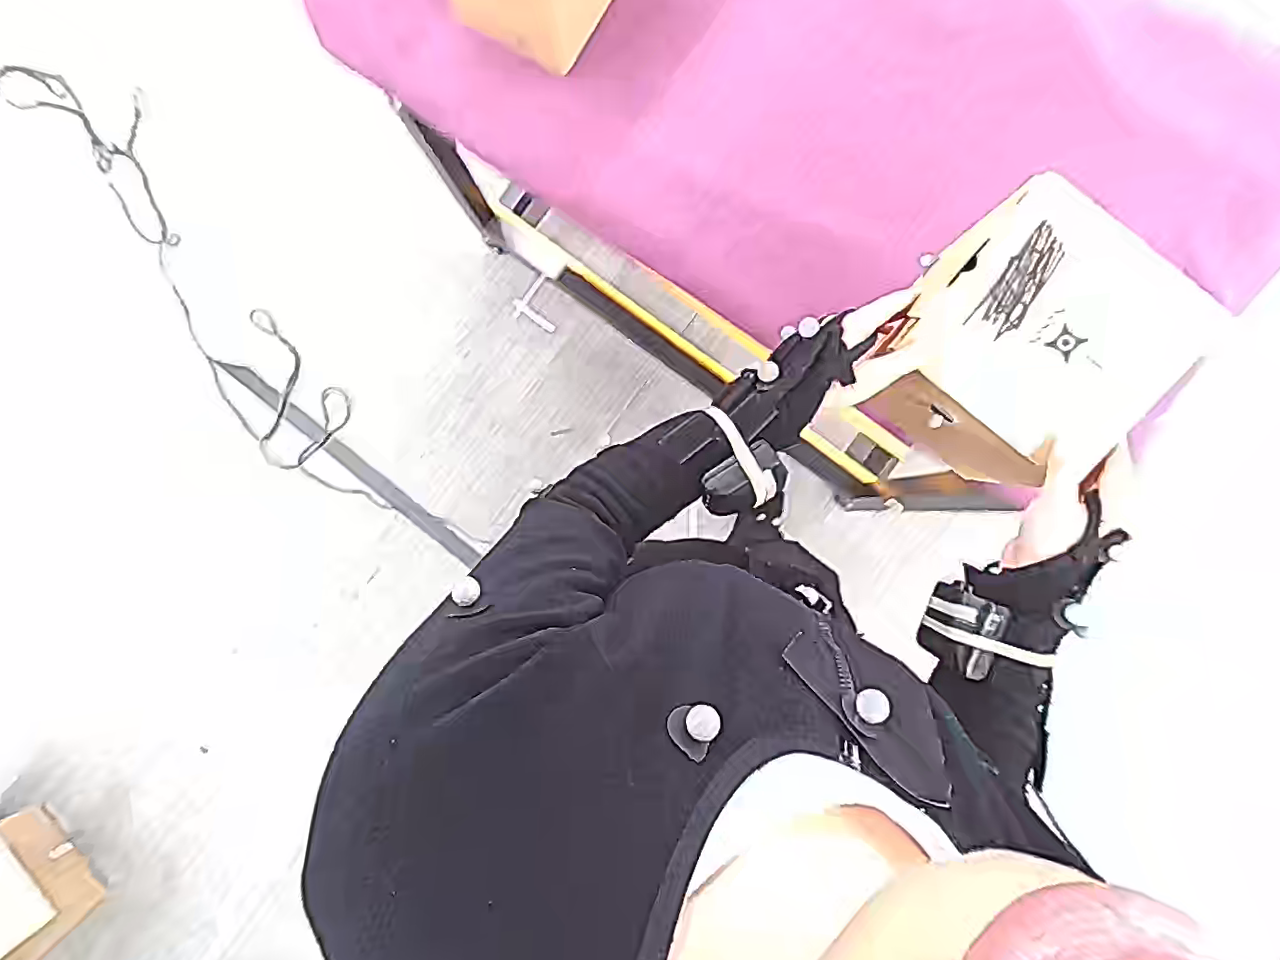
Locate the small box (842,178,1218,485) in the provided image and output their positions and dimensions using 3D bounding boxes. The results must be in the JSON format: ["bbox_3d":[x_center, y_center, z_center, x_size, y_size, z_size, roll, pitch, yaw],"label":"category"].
[{"bbox_3d":[0.314,-0.115,0.485,0.179,0.176,0.168,40,98,2],"label":"small box"}]
